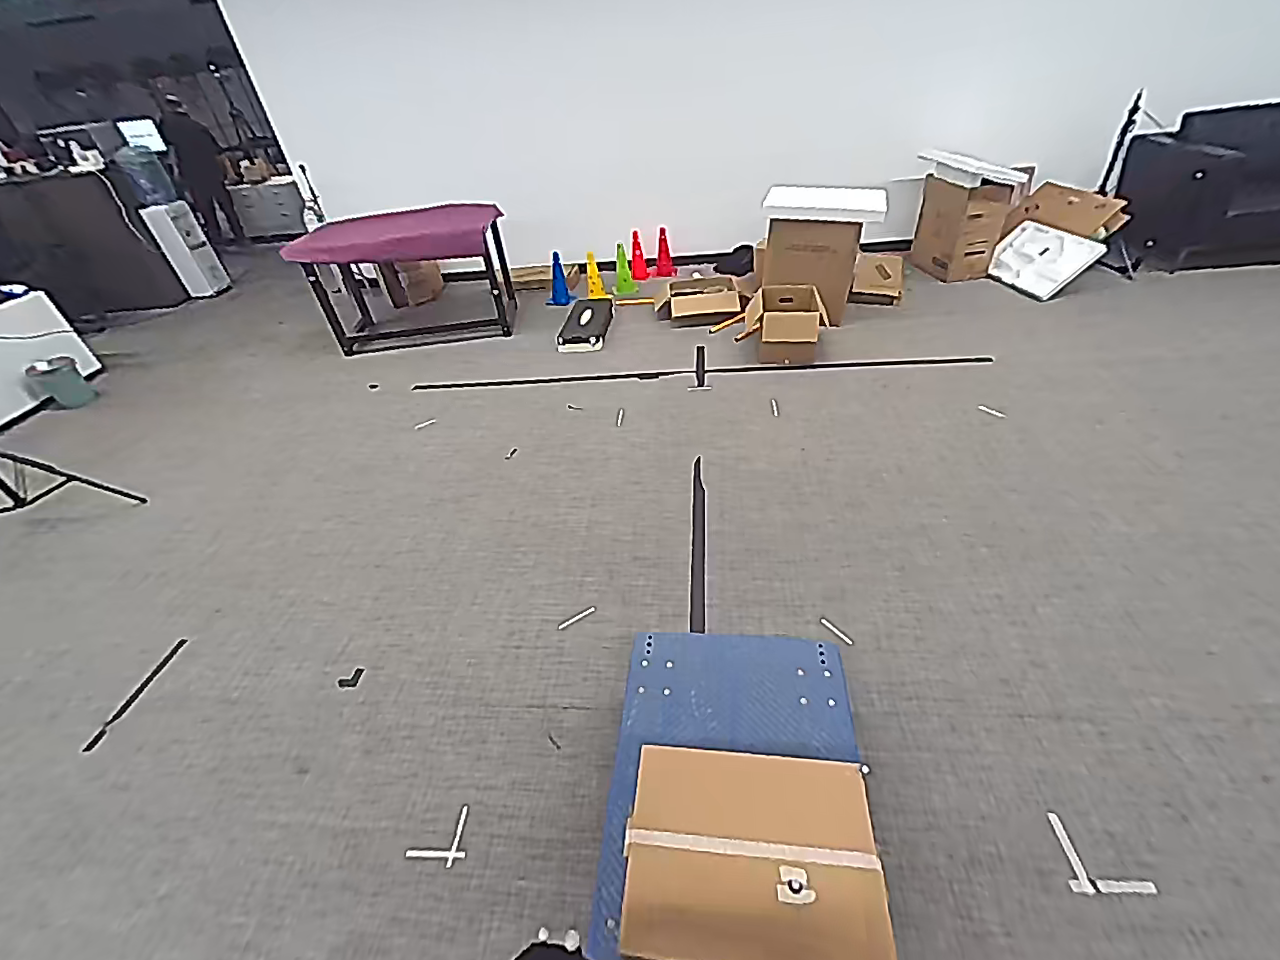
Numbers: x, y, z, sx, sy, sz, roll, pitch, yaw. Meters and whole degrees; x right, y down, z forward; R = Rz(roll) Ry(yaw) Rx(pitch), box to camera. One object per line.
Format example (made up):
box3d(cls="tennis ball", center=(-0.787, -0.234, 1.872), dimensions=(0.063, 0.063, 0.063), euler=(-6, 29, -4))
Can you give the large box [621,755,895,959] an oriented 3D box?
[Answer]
box3d(cls="large box", center=(0.191, 0.736, 0.976), dimensions=(0.408, 0.320, 0.320), euler=(1, 40, 8))
